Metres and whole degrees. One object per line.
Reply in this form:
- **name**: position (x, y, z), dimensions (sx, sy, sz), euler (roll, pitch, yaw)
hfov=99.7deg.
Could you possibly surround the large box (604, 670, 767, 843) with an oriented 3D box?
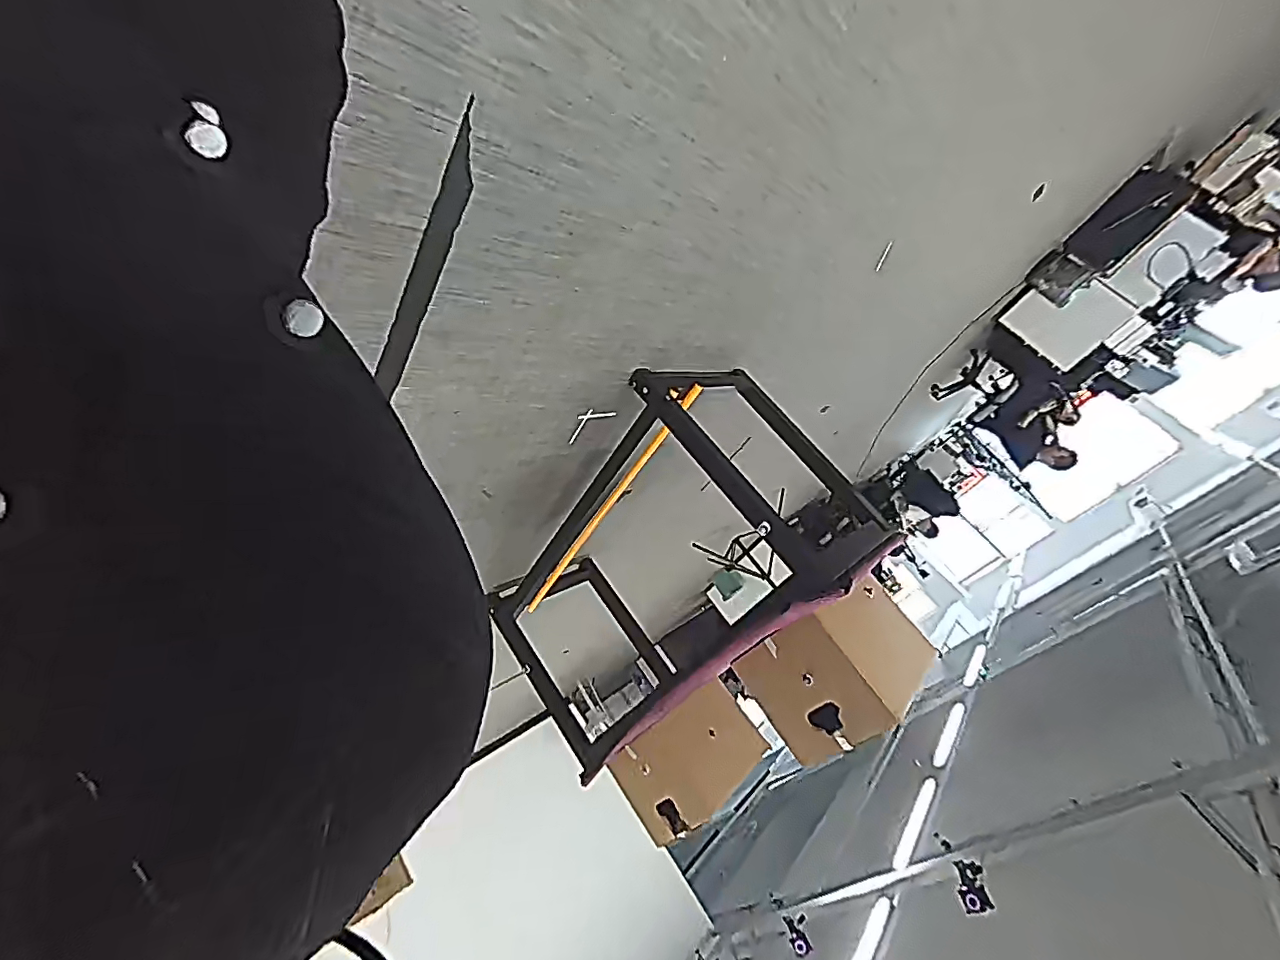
- **large box**: position (0.155, 0.930, 1.855), dimensions (0.408, 0.320, 0.320), euler (-15, 151, -51)
